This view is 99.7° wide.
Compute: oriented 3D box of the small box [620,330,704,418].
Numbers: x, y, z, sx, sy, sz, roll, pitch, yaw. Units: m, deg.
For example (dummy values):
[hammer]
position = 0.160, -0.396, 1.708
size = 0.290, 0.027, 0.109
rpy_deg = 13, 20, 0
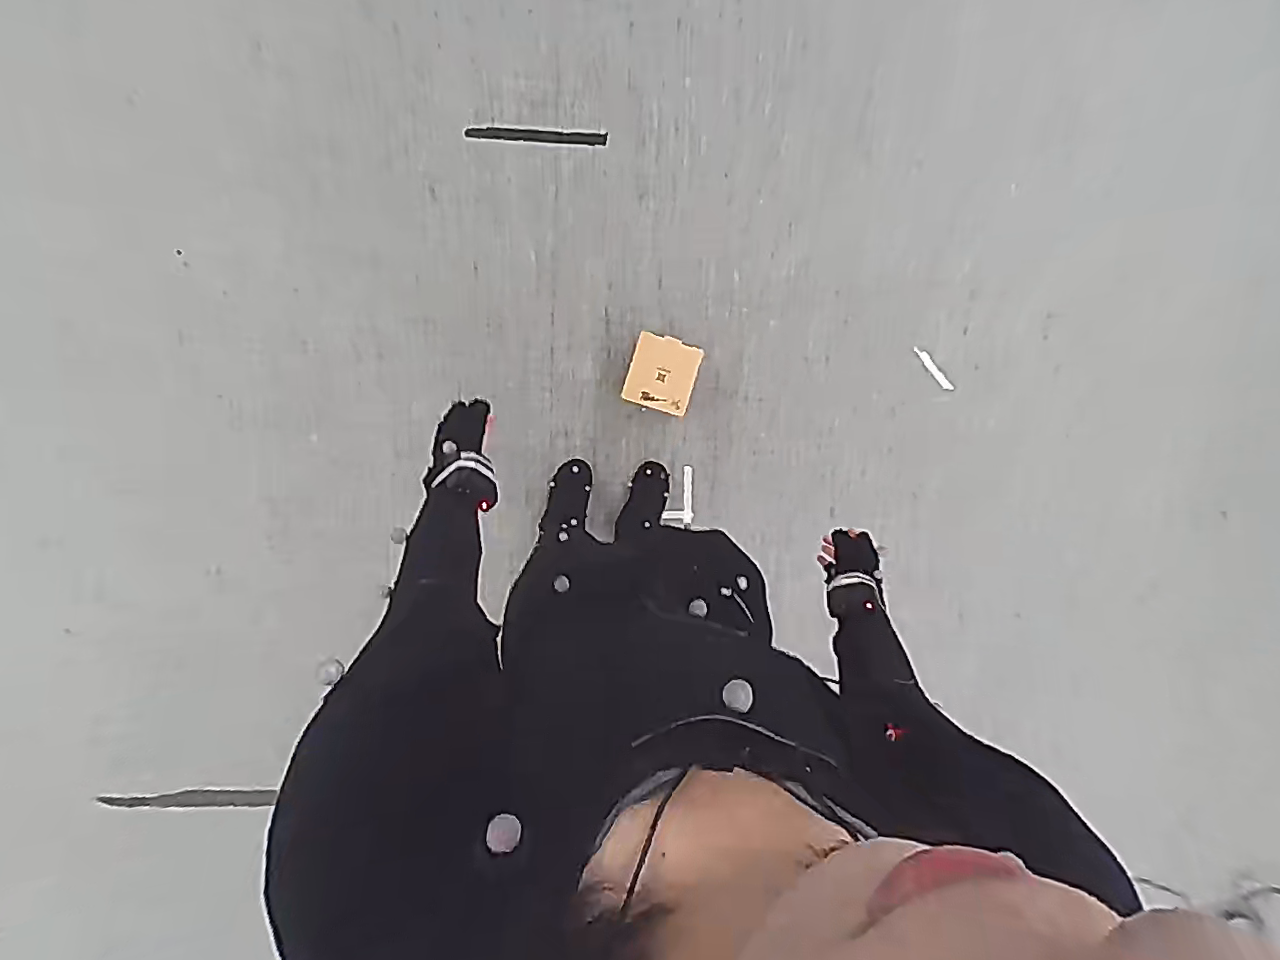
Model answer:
[small box]
position = 0.048, -0.268, 1.406
size = 0.168, 0.176, 0.179
rpy_deg = 17, 94, -6
